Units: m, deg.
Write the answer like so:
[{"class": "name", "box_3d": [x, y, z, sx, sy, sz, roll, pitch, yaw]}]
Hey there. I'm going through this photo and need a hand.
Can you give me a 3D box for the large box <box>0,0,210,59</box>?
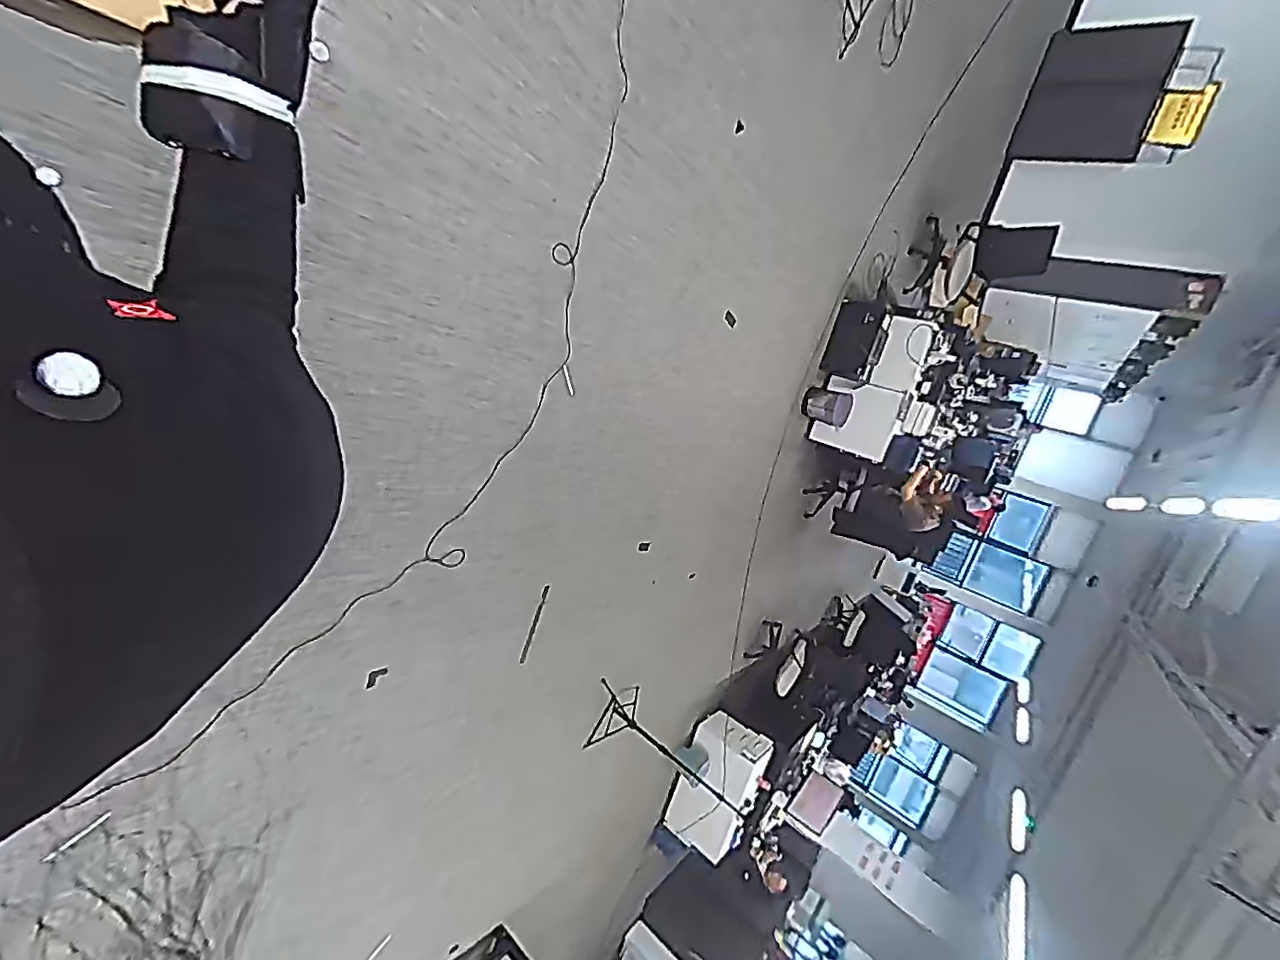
[{"class": "large box", "box_3d": [-0.479, -0.464, 0.230, 0.408, 0.320, 0.320, -10, 125, -55]}]
